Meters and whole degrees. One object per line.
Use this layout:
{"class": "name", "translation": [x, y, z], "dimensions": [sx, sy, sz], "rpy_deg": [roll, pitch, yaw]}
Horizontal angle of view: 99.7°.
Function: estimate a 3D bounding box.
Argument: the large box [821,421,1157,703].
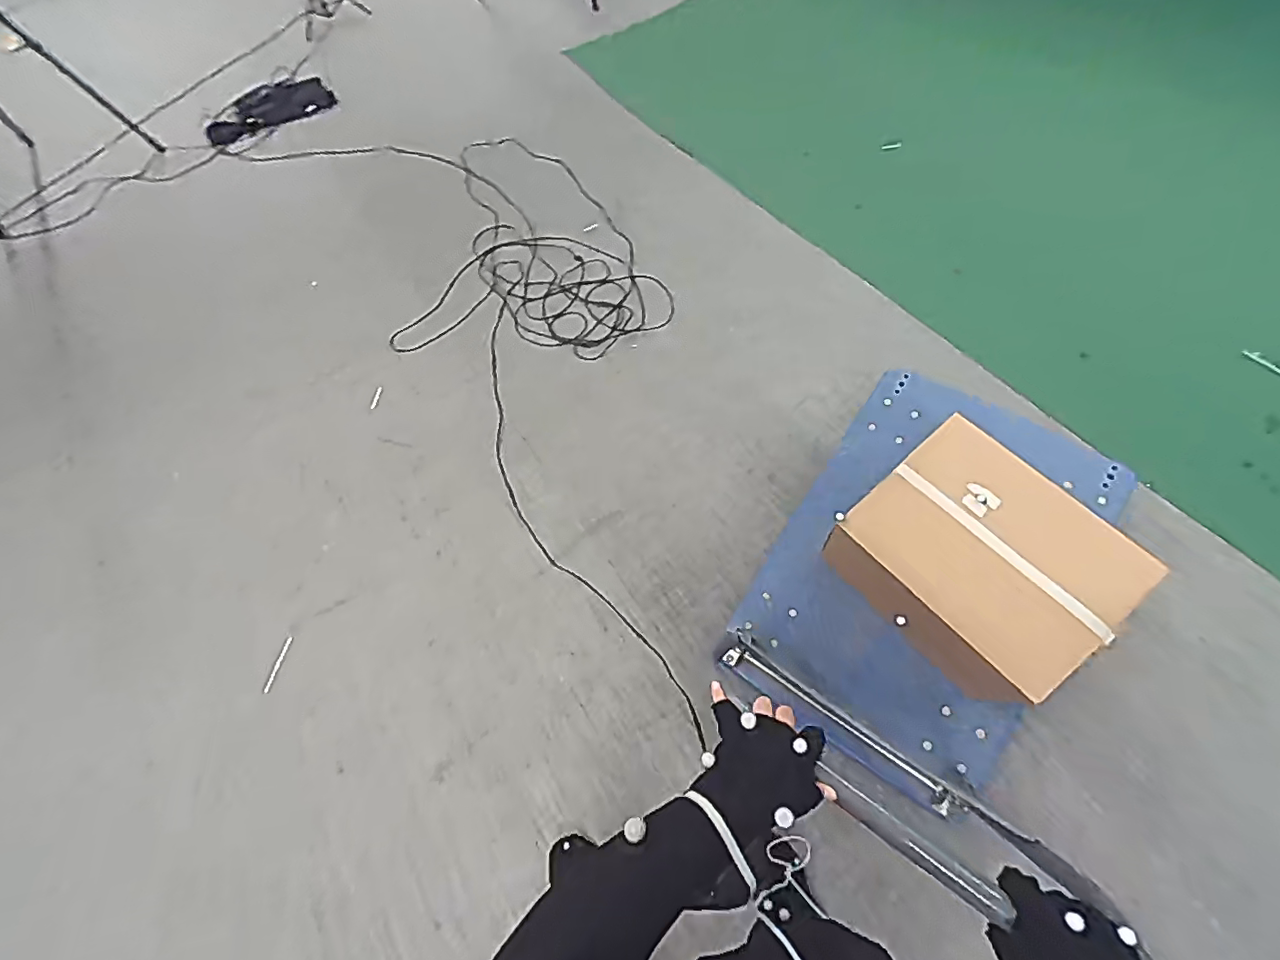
{"class": "large box", "translation": [0.624, 0.167, 1.064], "dimensions": [0.320, 0.320, 0.408], "rpy_deg": [-41, 67, -4]}
